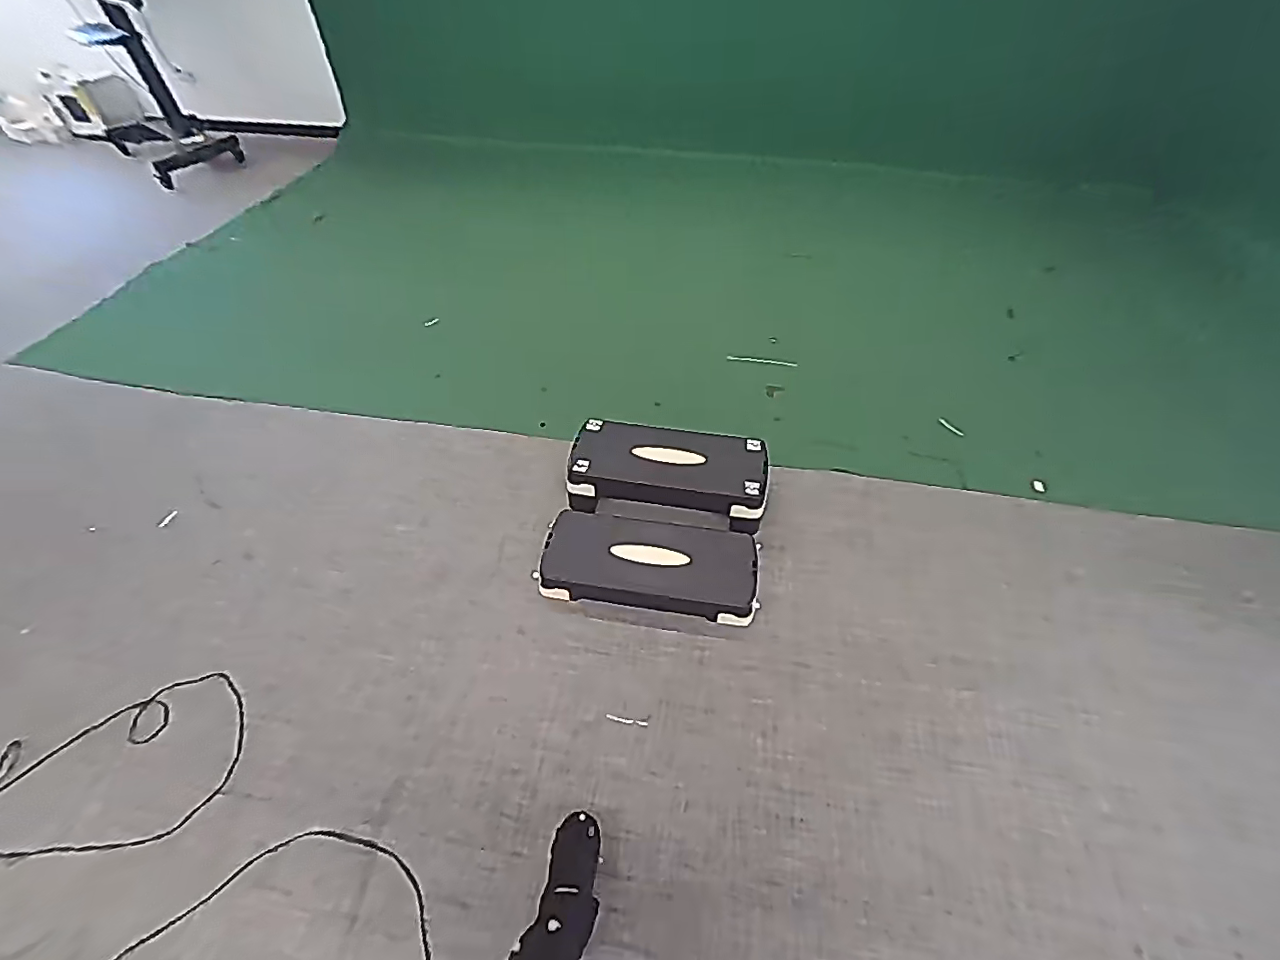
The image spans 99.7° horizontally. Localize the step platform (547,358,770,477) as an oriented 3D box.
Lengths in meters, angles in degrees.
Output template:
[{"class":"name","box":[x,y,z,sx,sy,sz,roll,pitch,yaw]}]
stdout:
[{"class":"step platform","box":[0.059,-0.203,1.741,0.684,0.204,0.286,7,50,6]}]
